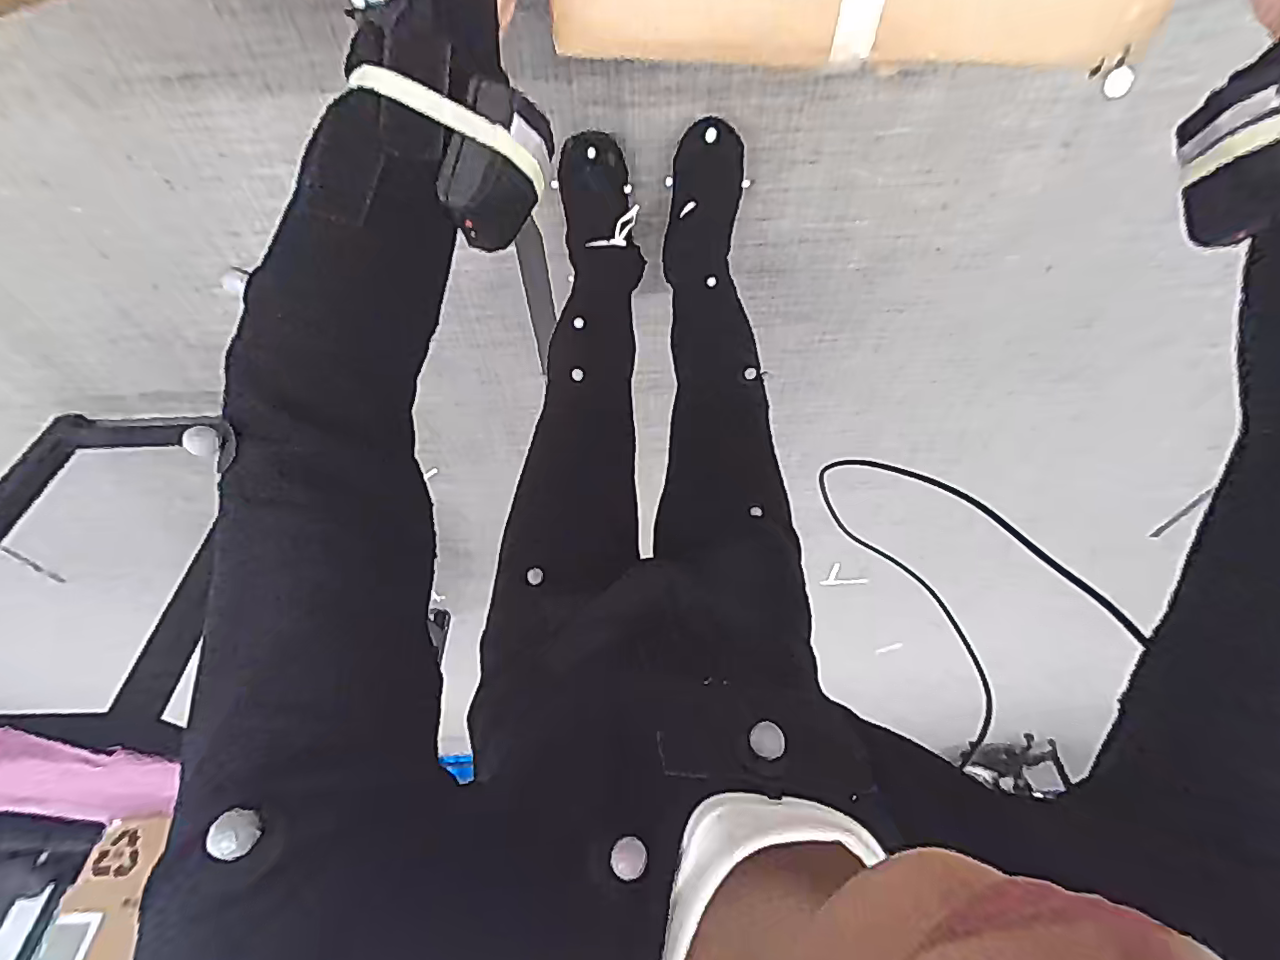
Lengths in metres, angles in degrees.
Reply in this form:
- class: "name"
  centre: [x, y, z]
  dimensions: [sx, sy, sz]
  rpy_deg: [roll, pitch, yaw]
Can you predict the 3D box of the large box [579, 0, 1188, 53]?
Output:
- class: "large box"
  centre: [0.124, -0.472, 0.240]
  dimensions: [0.320, 0.320, 0.408]
  rpy_deg: [2, 138, 2]
